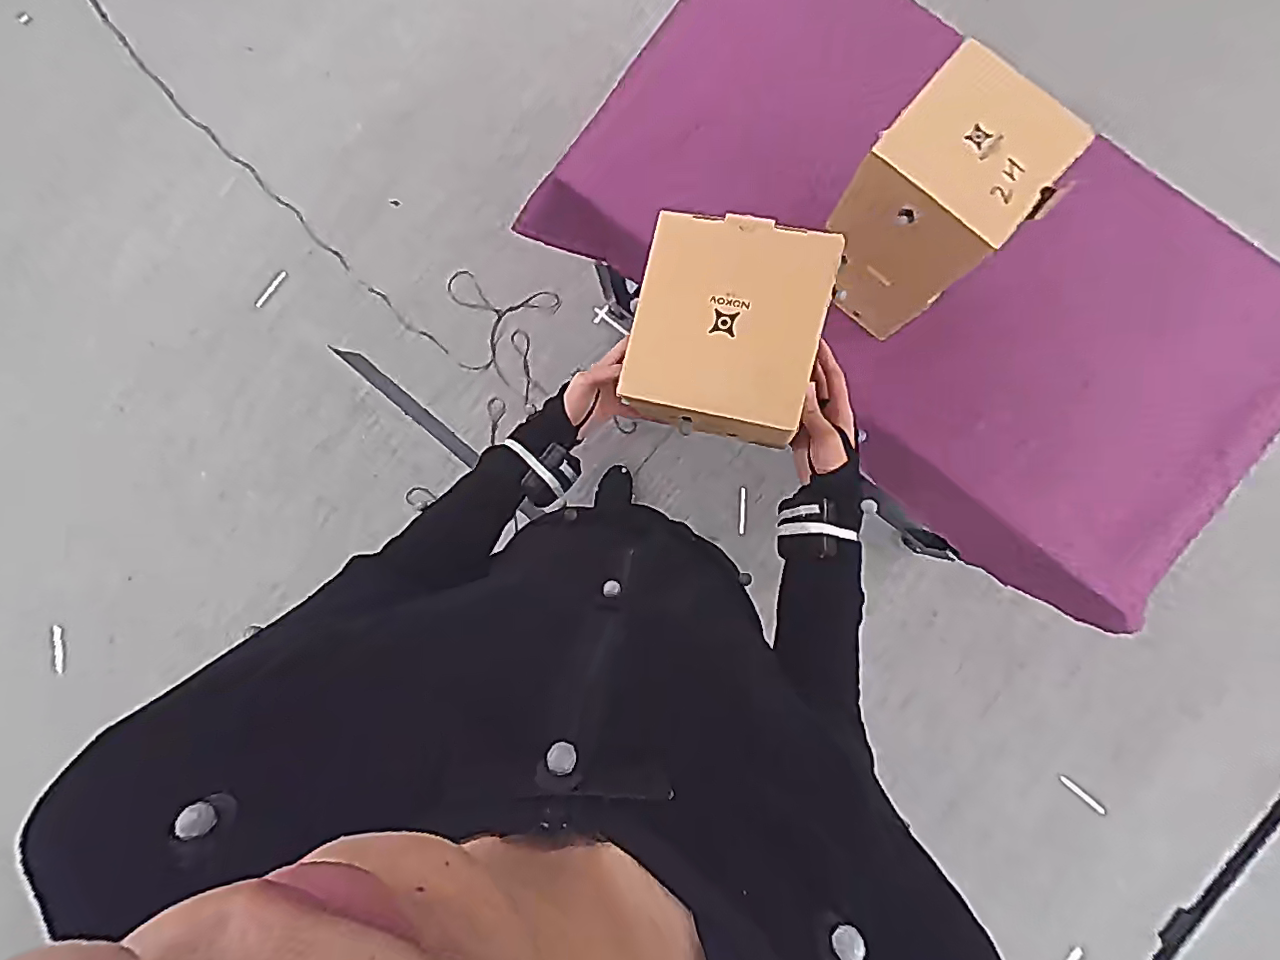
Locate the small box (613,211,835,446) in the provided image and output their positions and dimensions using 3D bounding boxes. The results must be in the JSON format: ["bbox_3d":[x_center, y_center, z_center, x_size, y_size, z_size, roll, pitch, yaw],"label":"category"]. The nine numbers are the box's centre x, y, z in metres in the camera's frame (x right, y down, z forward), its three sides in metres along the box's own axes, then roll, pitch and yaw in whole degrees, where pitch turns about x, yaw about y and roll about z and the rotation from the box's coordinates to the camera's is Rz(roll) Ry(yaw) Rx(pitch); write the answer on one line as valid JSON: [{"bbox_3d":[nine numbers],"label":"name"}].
[{"bbox_3d":[0.088,-0.140,0.556,0.168,0.176,0.179,14,89,12],"label":"small box"}]

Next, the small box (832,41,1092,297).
[{"bbox_3d":[0.369,-0.359,0.661,0.179,0.176,0.168,41,90,3],"label":"small box"}]
